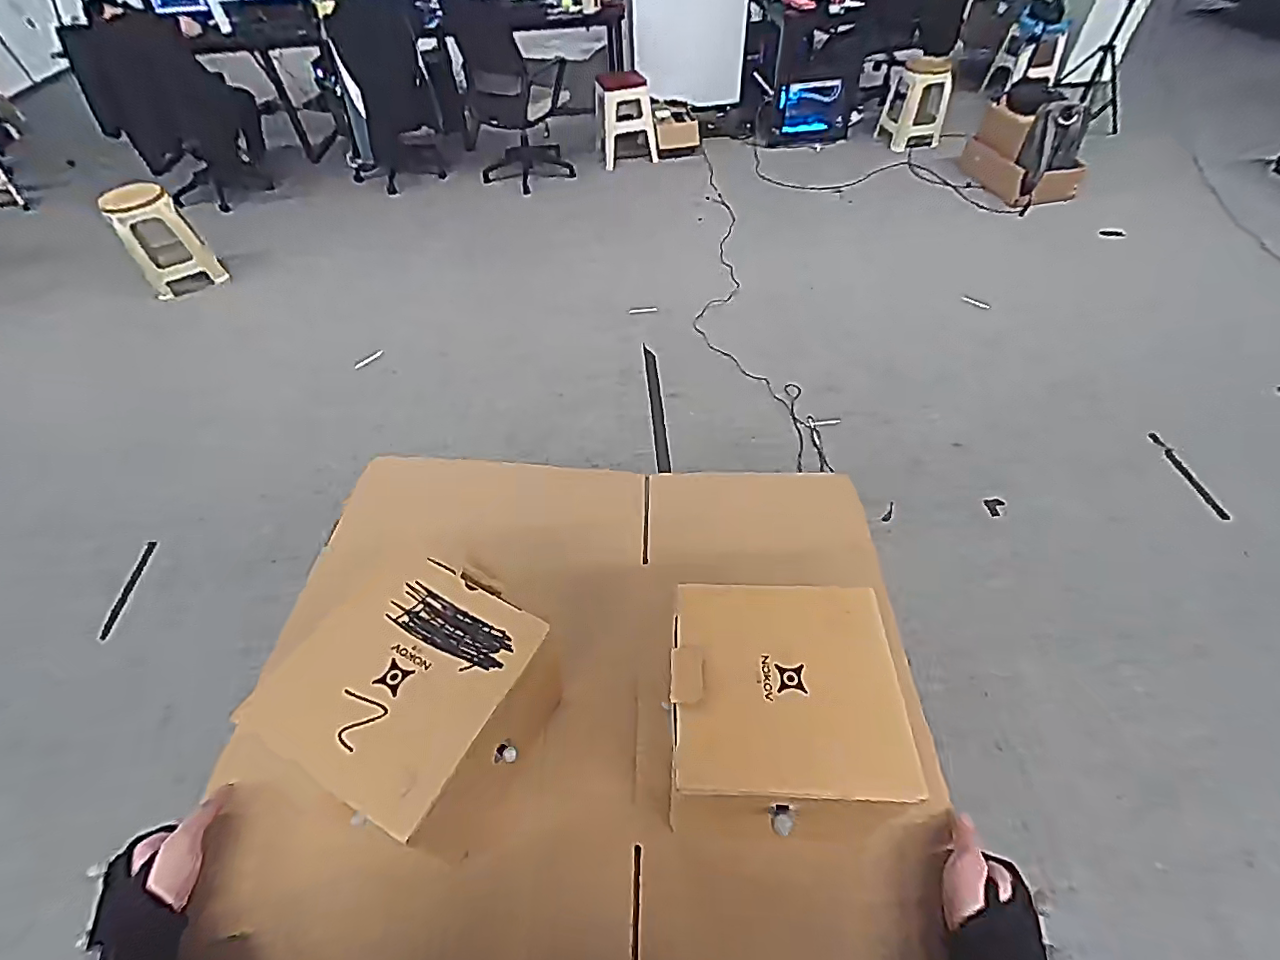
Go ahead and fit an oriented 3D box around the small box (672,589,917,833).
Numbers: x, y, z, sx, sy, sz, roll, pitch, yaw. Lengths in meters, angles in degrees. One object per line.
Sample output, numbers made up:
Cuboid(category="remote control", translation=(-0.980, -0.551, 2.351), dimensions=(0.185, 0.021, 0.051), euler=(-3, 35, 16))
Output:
Cuboid(category="small box", translation=(0.119, 0.216, 0.500), dimensions=(0.179, 0.176, 0.168), euler=(0, 49, 4))
